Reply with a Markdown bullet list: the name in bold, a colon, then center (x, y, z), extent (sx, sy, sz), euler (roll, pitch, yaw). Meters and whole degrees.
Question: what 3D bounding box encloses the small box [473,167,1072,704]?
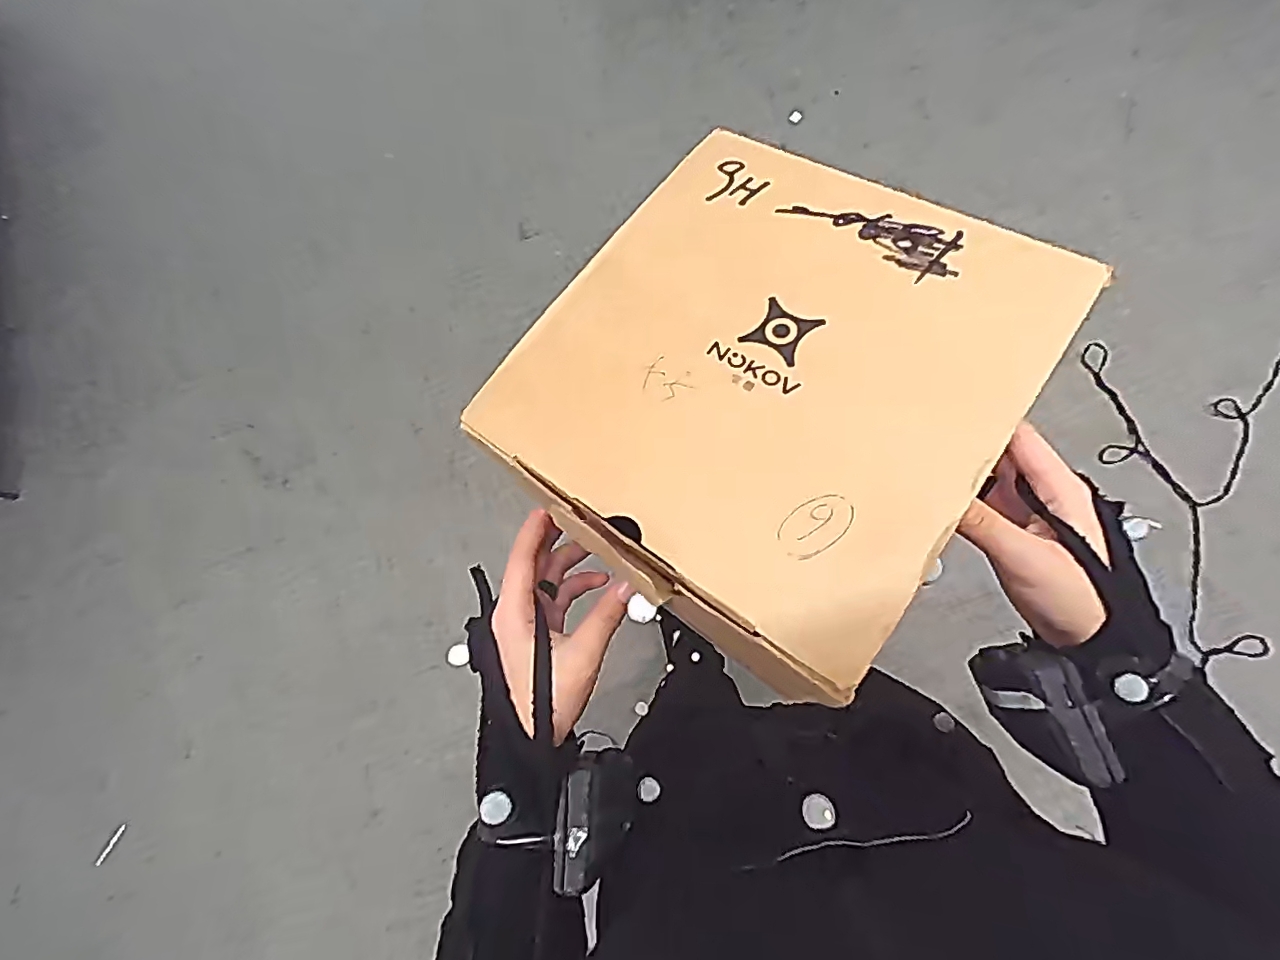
- **small box**: center (0.058, -0.009, 0.280), extent (0.168, 0.176, 0.179), euler (33, 78, 21)
